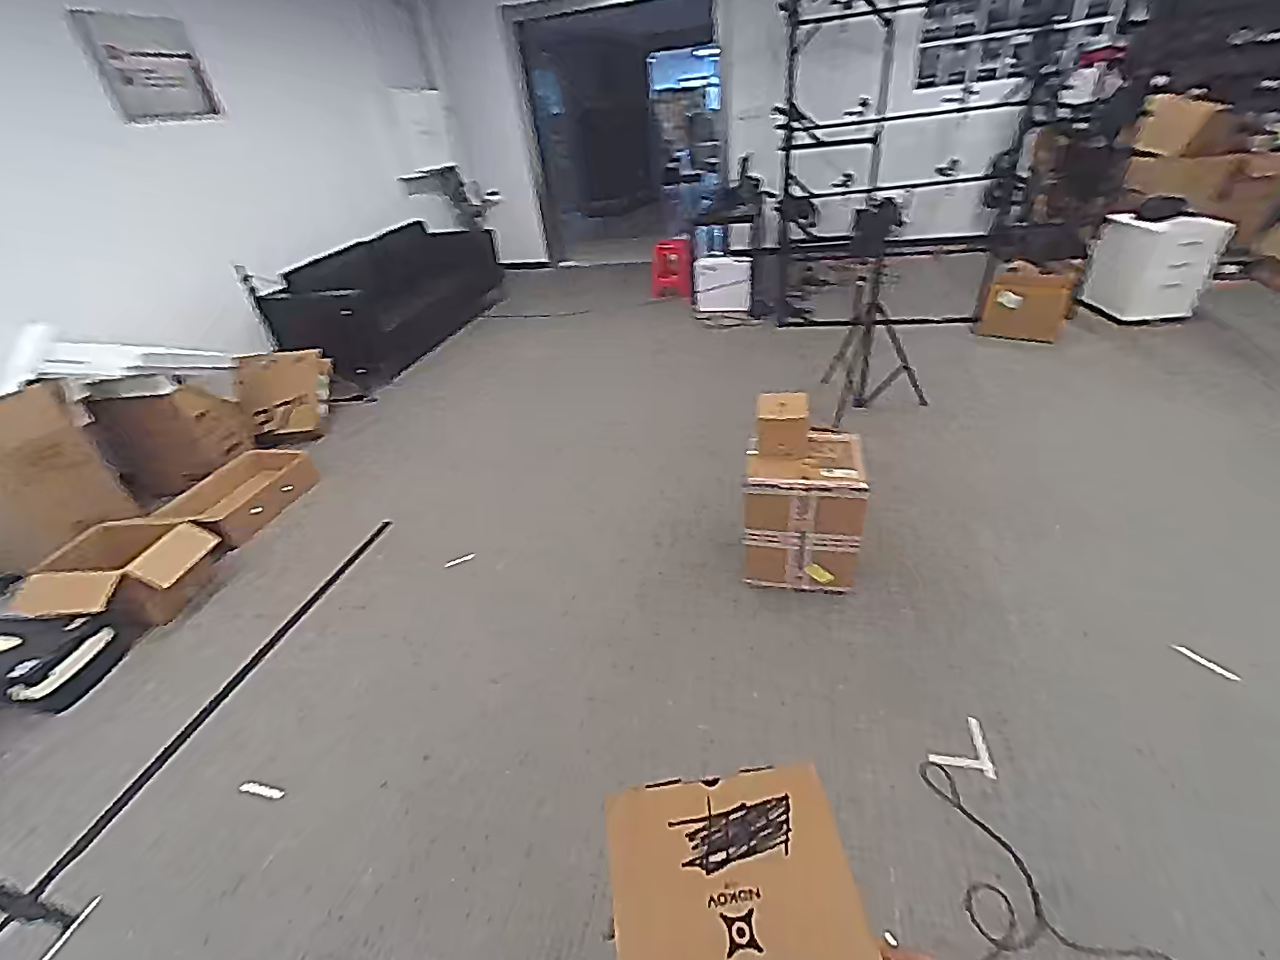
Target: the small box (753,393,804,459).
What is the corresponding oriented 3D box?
[{"bbox_3d":[0.489,-0.191,1.906,0.168,0.176,0.179,1,38,15],"label":"small box"}]
